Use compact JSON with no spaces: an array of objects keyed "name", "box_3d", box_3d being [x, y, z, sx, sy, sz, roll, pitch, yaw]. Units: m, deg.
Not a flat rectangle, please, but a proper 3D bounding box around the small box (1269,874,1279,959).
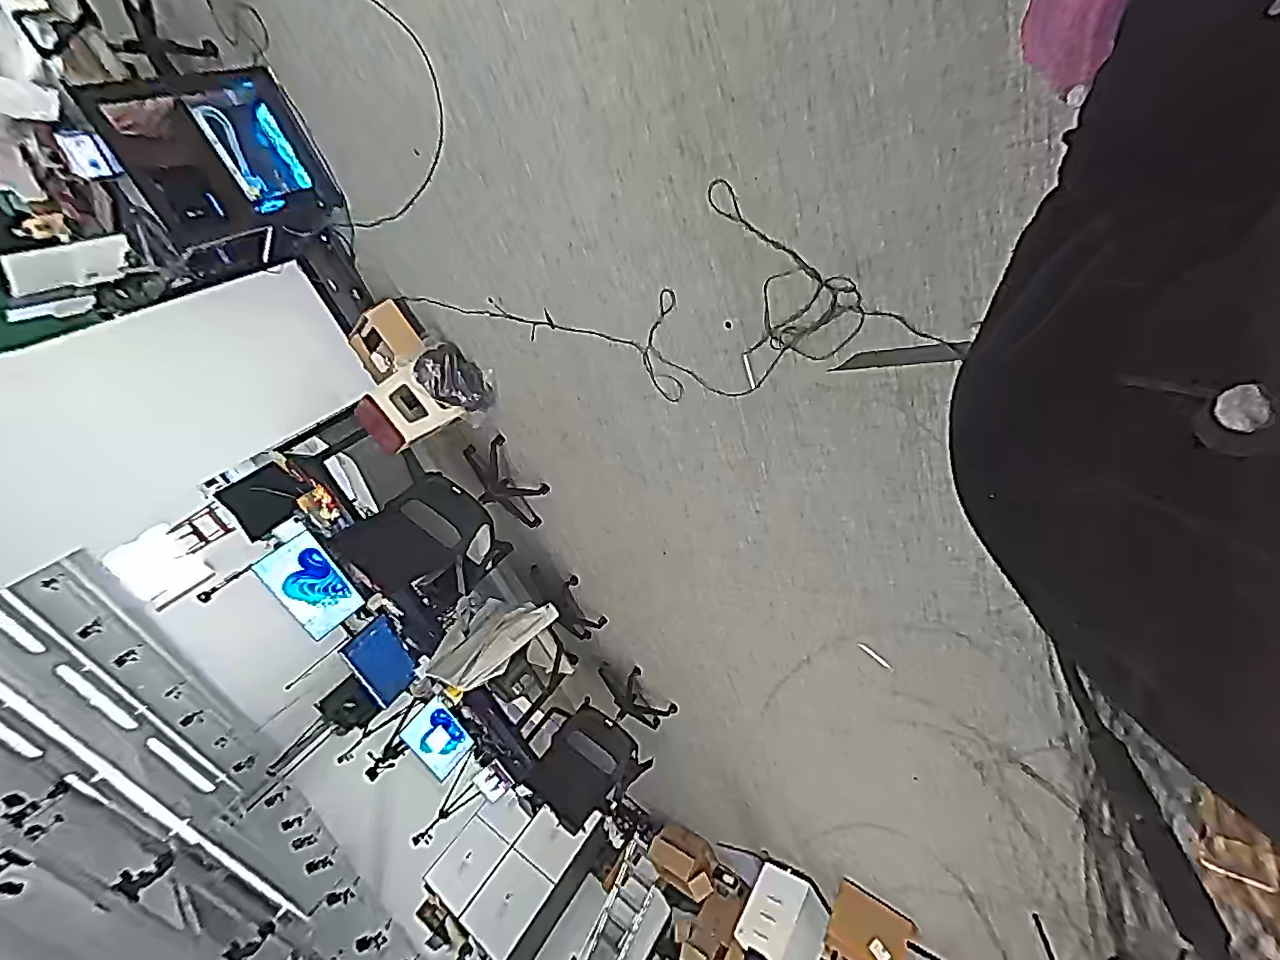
[{"name":"small box","box_3d":[1.625,1.087,1.277,0.168,0.176,0.179,1,126,45]}]
